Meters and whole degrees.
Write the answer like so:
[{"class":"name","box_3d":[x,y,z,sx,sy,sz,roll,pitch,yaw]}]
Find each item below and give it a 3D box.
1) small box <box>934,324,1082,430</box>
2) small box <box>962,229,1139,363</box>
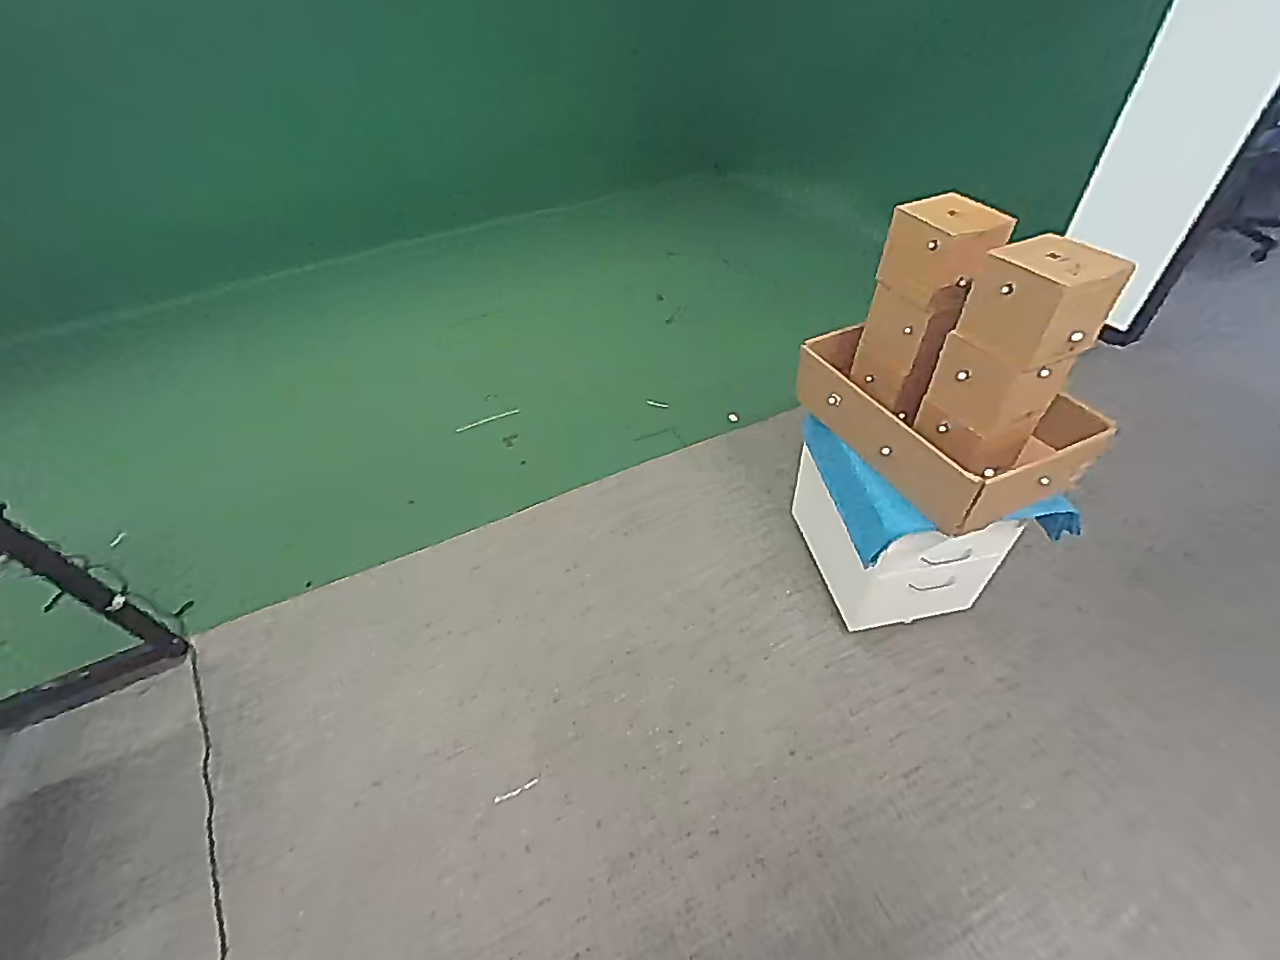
[{"class":"small box","box_3d":[0.763,-0.233,1.142,0.168,0.176,0.179,-21,45,-13]},{"class":"small box","box_3d":[0.756,-0.347,1.022,0.168,0.176,0.179,-20,46,-12]}]
